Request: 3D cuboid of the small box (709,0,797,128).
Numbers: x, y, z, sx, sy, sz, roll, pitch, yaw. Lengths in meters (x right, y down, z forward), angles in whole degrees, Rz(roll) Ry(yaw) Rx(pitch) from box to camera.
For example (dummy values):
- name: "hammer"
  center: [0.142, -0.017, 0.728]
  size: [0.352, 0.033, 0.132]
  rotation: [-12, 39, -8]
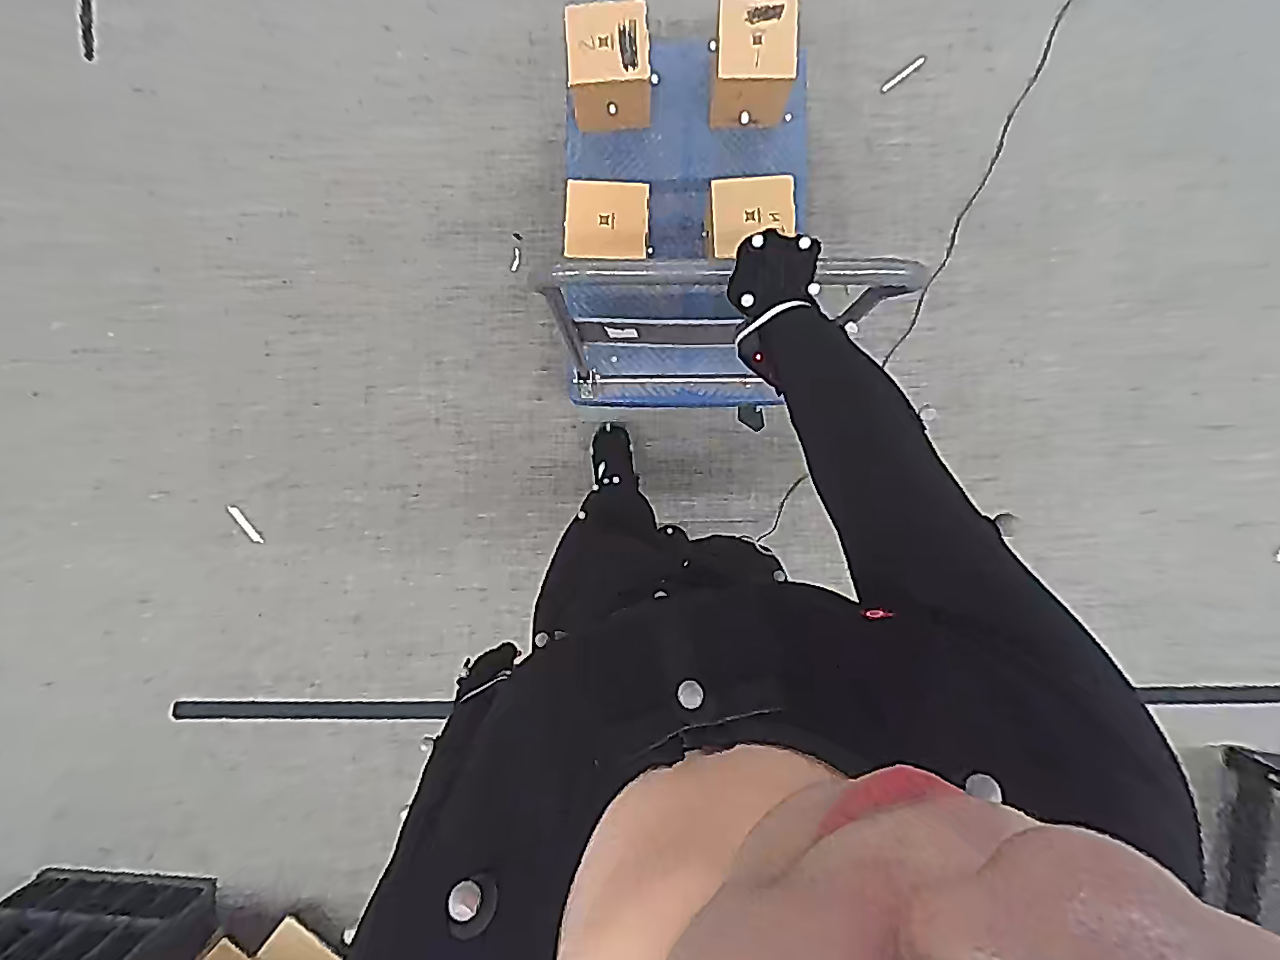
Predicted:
- name: "small box"
  center: [0.245, -0.931, 1.211]
  size: [0.168, 0.176, 0.179]
  rotation: [0, 92, 1]

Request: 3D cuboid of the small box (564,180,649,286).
- name: "small box"
  center: [-0.070, -0.549, 1.220]
  size: [0.179, 0.176, 0.168]
  rotation: [2, 90, -1]

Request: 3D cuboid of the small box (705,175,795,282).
- name: "small box"
  center: [0.240, -0.555, 1.215]
  size: [0.179, 0.176, 0.168]
  rotation: [-3, 91, 1]
